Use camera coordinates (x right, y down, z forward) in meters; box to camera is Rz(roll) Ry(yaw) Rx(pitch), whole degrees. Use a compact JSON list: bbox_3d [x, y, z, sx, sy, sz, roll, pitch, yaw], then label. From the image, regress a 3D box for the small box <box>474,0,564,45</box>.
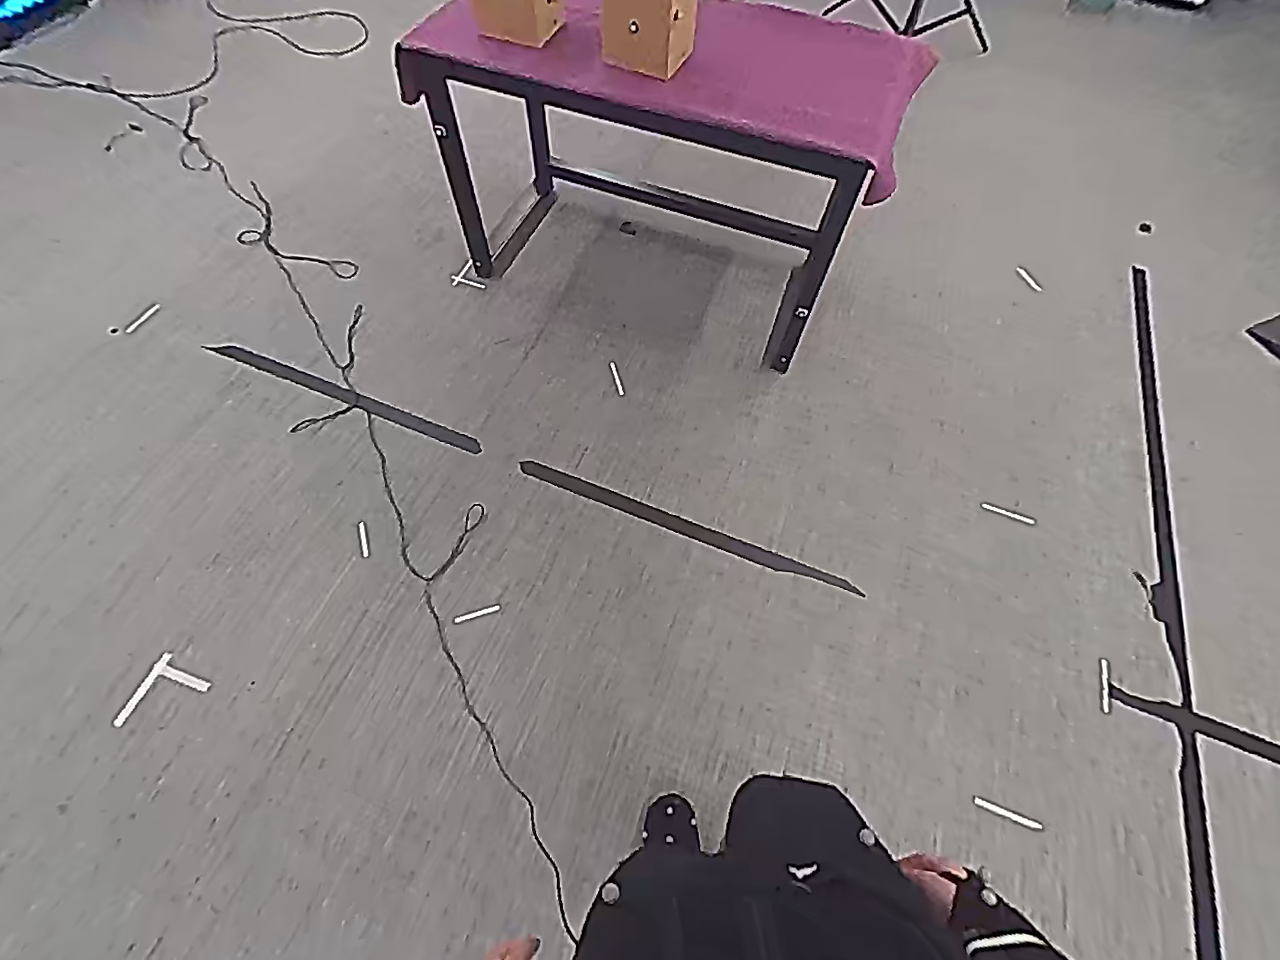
[{"bbox_3d":[-0.297,-1.211,1.330,0.179,0.176,0.168,18,61,7],"label":"small box"}]
